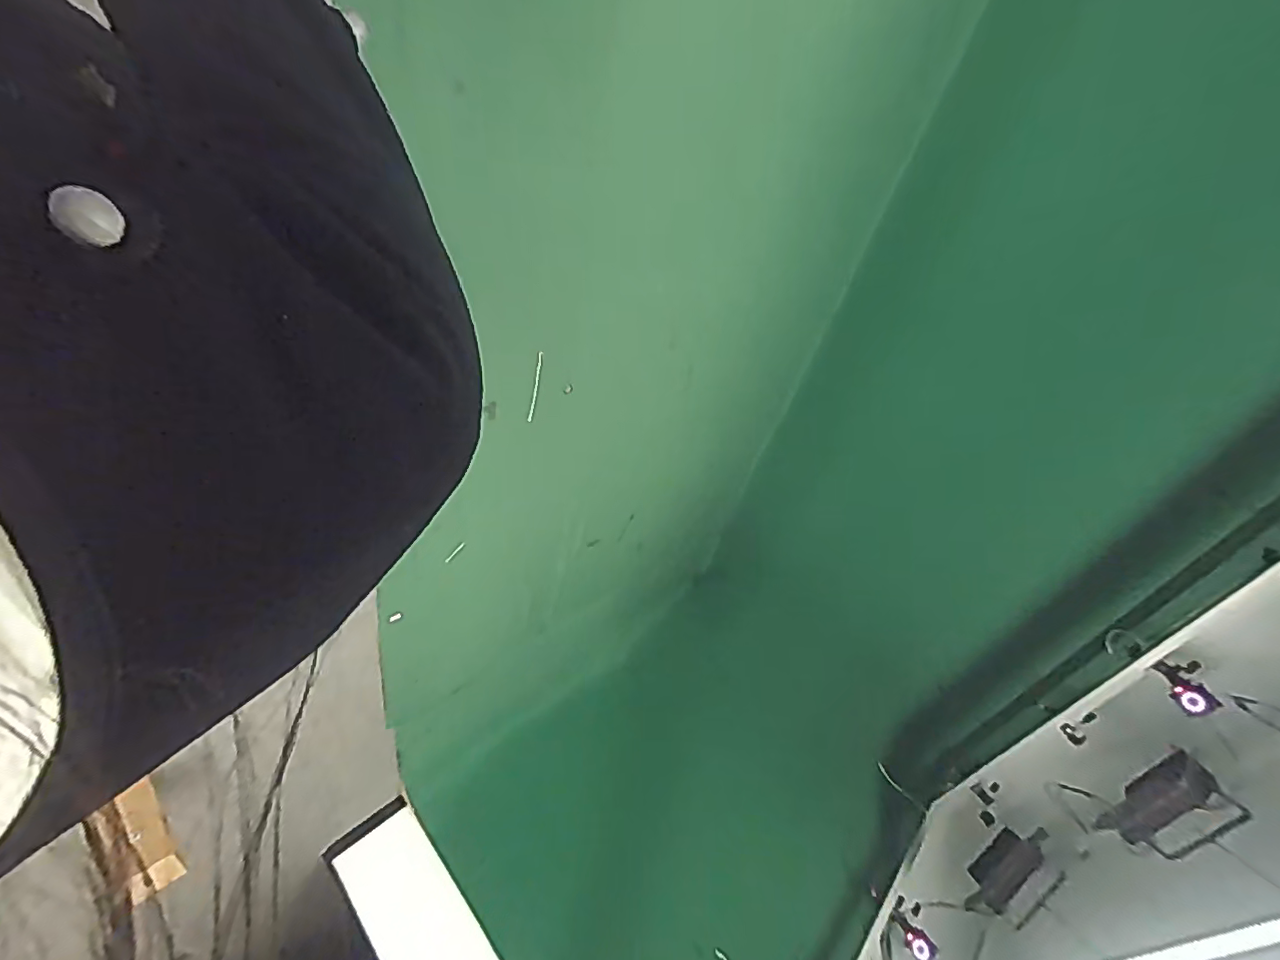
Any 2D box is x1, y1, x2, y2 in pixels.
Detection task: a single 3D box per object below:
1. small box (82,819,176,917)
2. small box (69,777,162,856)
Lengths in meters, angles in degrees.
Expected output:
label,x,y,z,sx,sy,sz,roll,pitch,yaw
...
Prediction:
label,x,y,z,sx,sy,sz,roll,pitch,yaw
small box,-1.631,1.232,1.729,0.168,0.176,0.179,-25,143,-42
small box,-1.740,1.133,1.797,0.179,0.176,0.168,-22,141,-43
